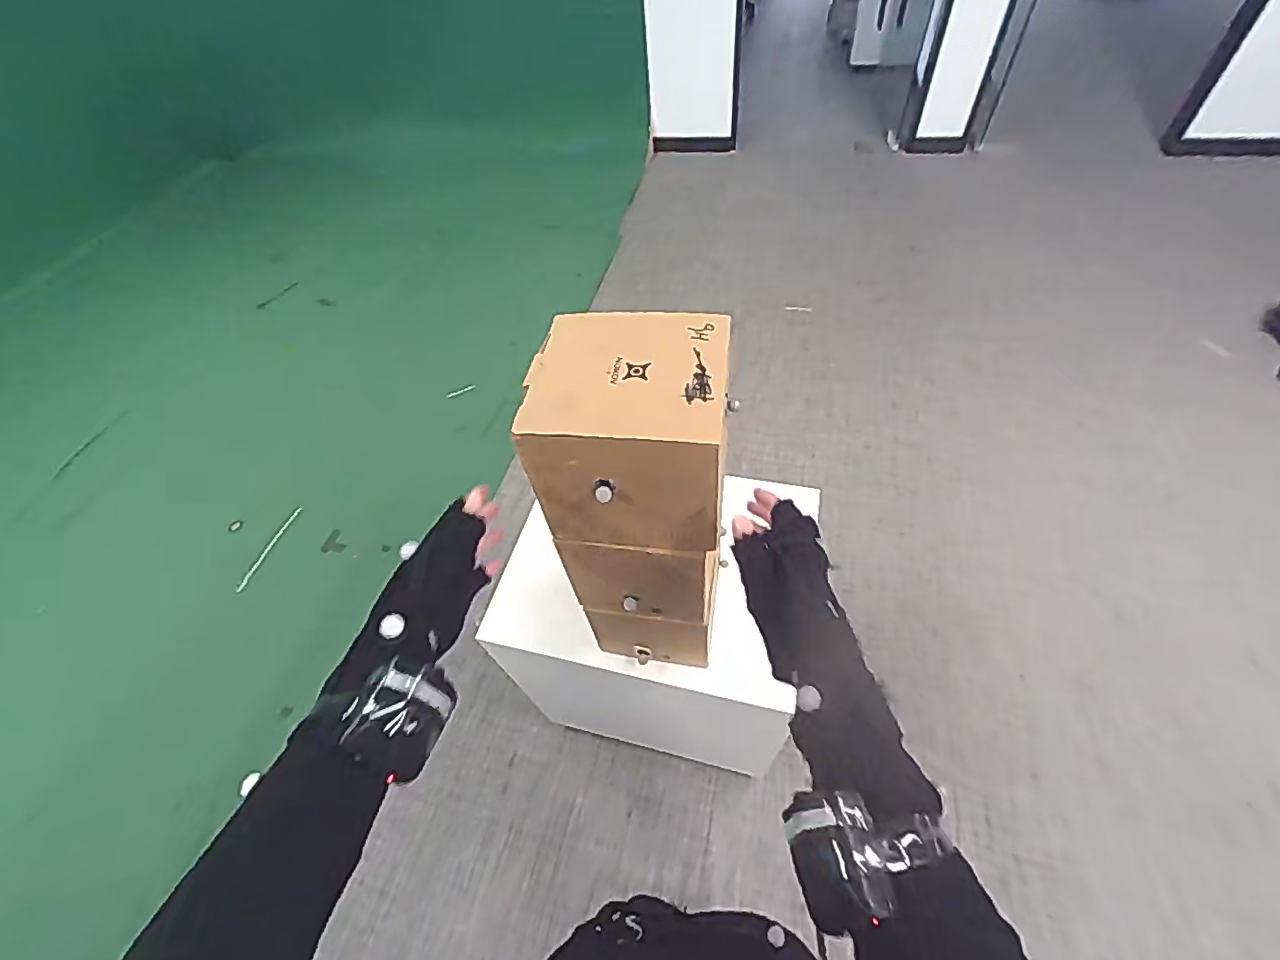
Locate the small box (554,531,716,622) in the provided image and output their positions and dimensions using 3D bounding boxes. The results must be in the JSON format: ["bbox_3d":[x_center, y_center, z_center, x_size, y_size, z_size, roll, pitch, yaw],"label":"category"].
[{"bbox_3d":[0.008,0.053,0.668,0.168,0.176,0.179,3,52,10],"label":"small box"}]

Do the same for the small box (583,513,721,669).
[{"bbox_3d":[0.028,0.156,0.793,0.168,0.176,0.179,4,55,12],"label":"small box"}]

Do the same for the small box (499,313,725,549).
[{"bbox_3d":[-0.010,-0.045,0.537,0.179,0.176,0.168,3,53,11],"label":"small box"}]
